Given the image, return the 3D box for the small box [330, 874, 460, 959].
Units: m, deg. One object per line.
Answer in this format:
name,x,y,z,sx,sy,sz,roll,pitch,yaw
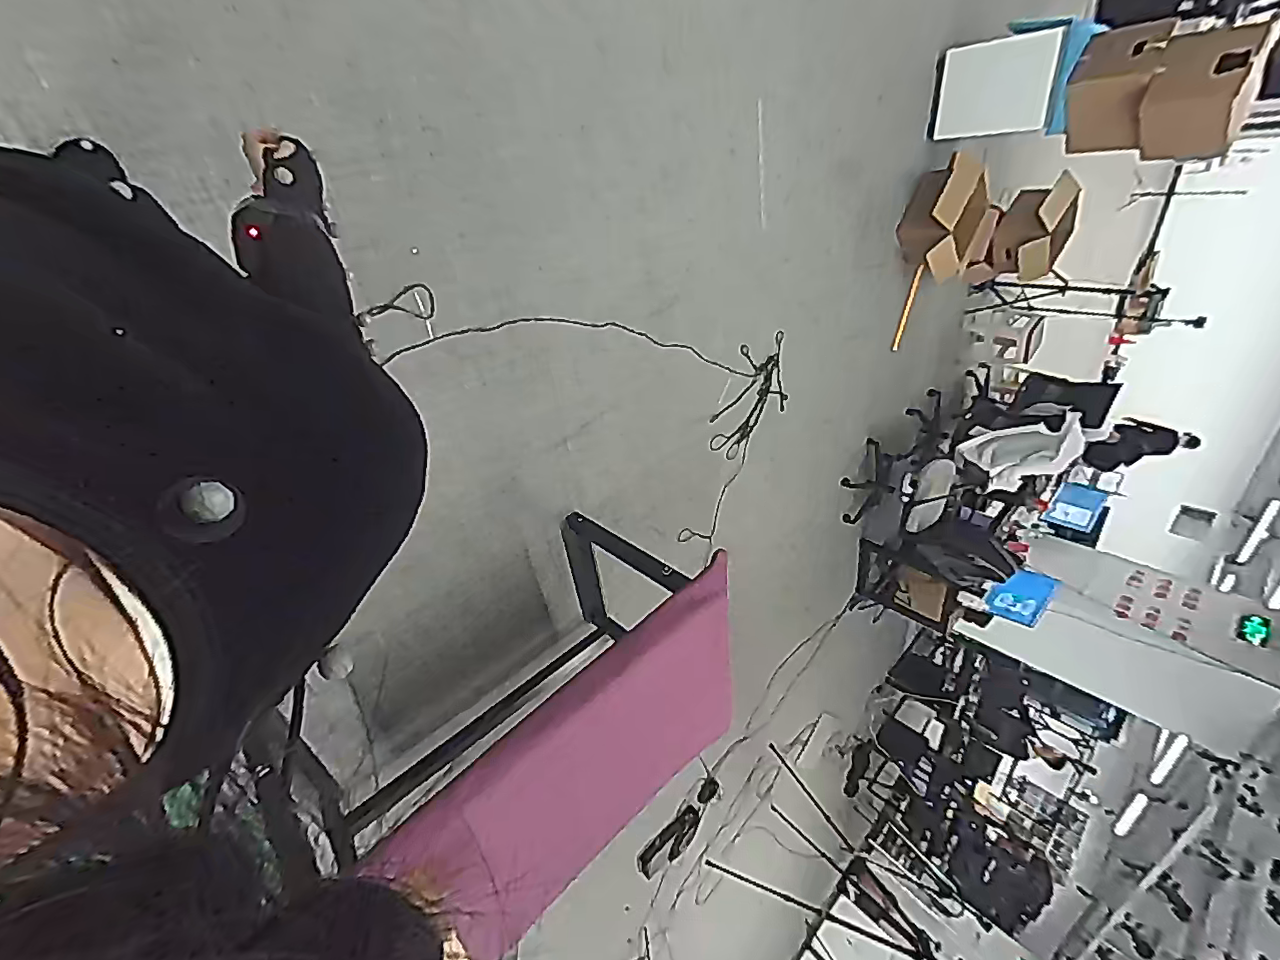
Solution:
small box,-0.464,0.912,1.039,0.168,0.176,0.179,-27,125,-35
